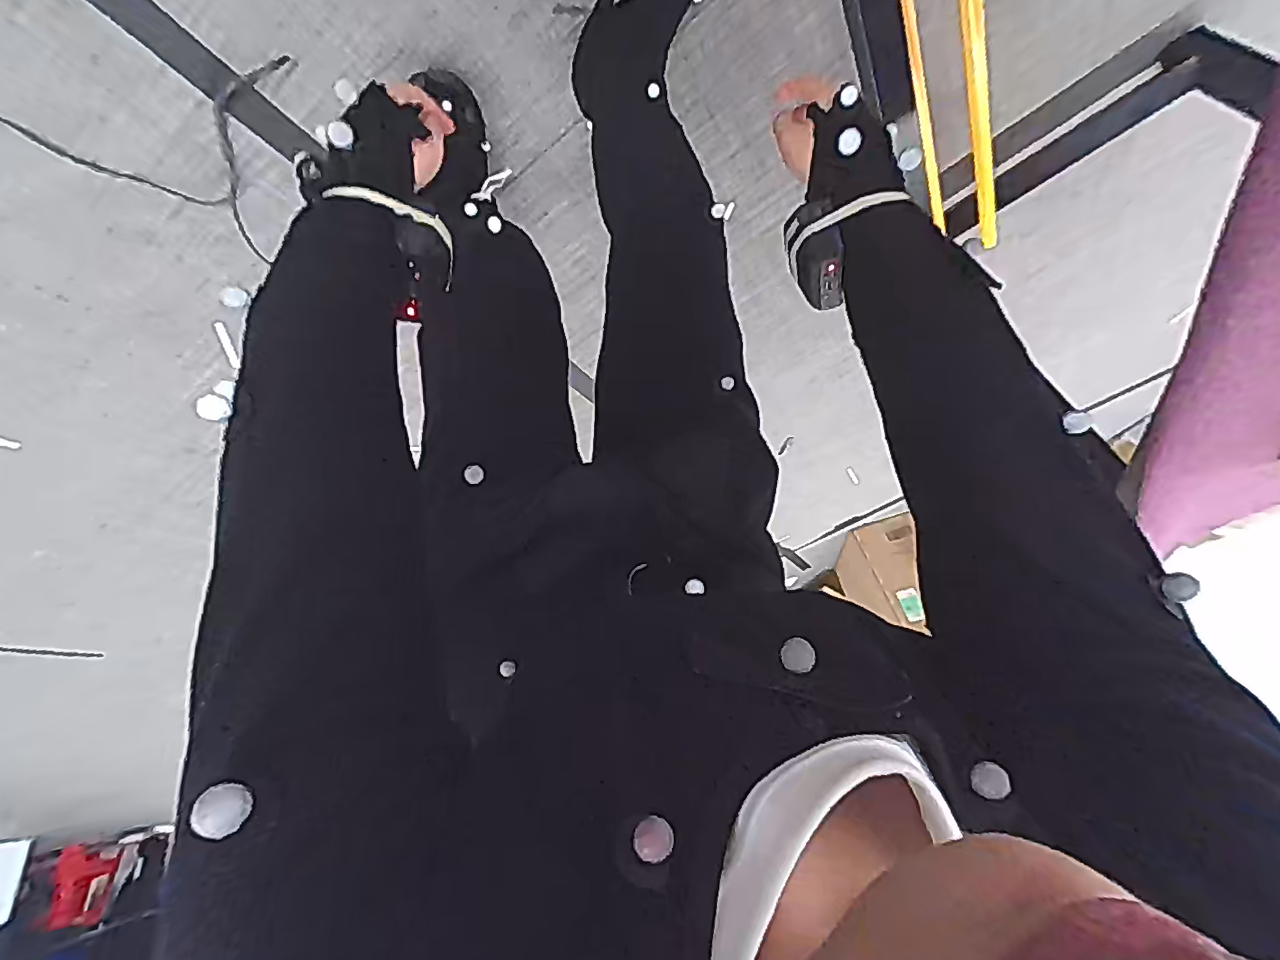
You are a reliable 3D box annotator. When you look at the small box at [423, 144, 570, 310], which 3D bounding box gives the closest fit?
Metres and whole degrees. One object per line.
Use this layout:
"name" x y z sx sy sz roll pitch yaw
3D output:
"small box" -0.219 -0.370 0.805 0.179 0.176 0.168 -6 141 -24
